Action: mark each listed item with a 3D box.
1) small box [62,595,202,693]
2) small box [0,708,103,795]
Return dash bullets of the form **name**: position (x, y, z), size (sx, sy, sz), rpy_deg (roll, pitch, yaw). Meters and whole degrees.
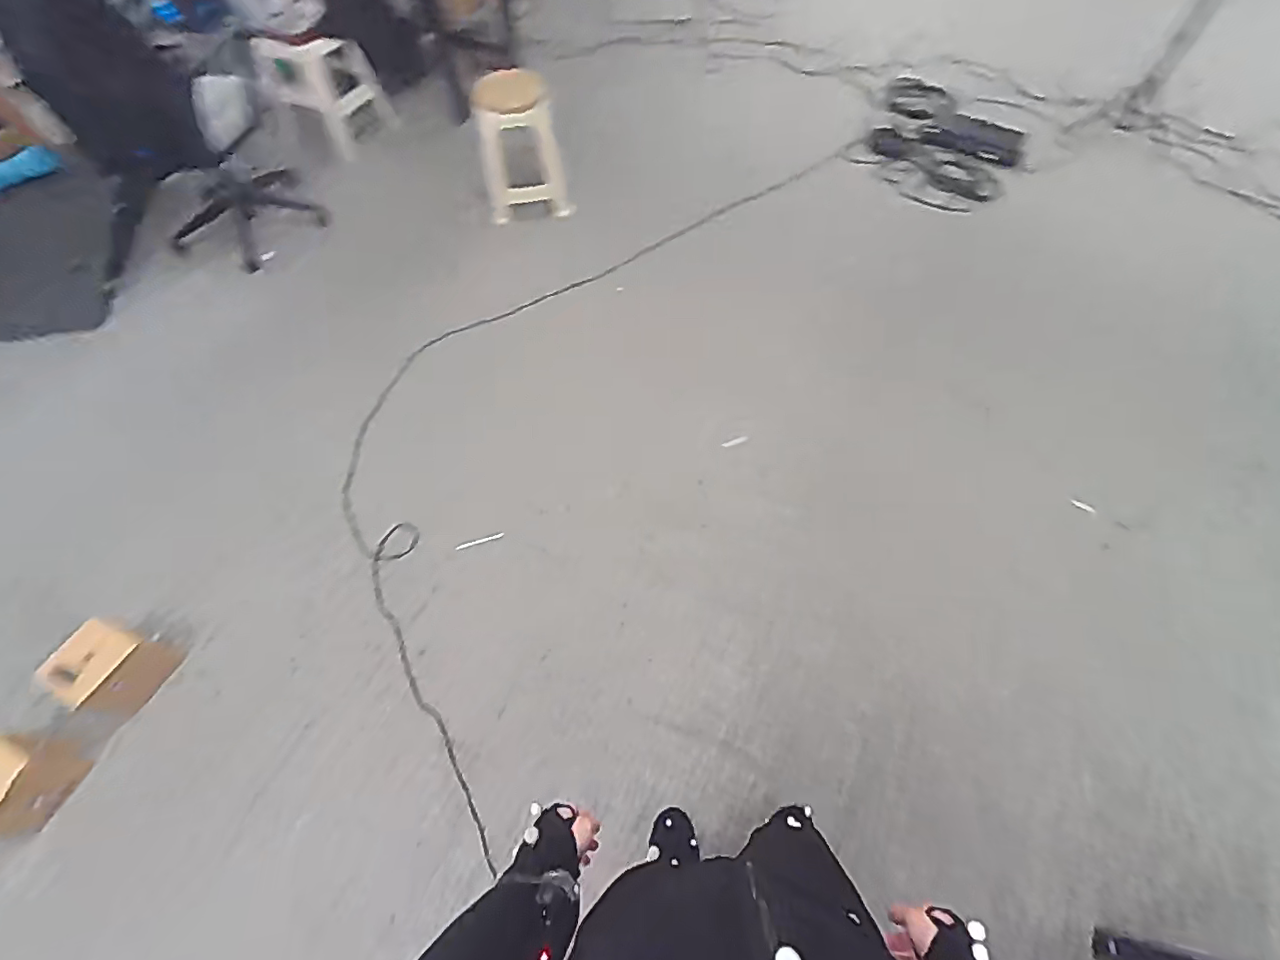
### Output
- **small box**: position (-1.326, 0.438, 1.426), size (0.168, 0.176, 0.179), rpy_deg (30, 66, 14)
- **small box**: position (-1.467, 0.656, 1.301), size (0.168, 0.176, 0.179), rpy_deg (-6, 62, 0)
